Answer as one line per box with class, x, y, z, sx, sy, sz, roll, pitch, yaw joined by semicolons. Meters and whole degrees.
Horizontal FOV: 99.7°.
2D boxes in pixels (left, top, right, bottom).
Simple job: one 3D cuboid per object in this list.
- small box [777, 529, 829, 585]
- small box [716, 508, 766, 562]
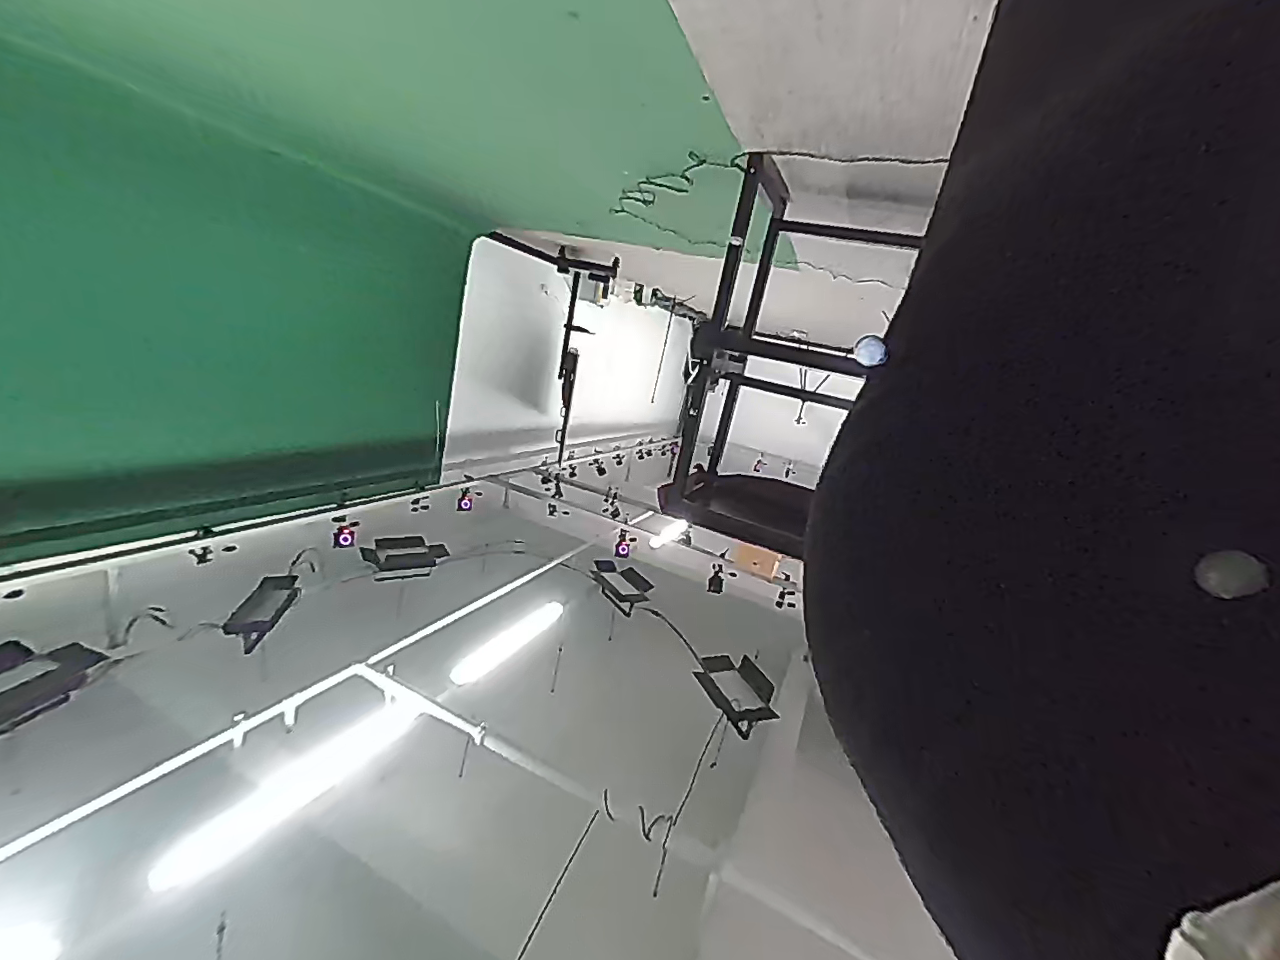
small box;0.710;0.325;2.351;0.179;0.176;0.168;16;-163;15
small box;0.459;0.244;2.430;0.179;0.176;0.168;18;-163;18
